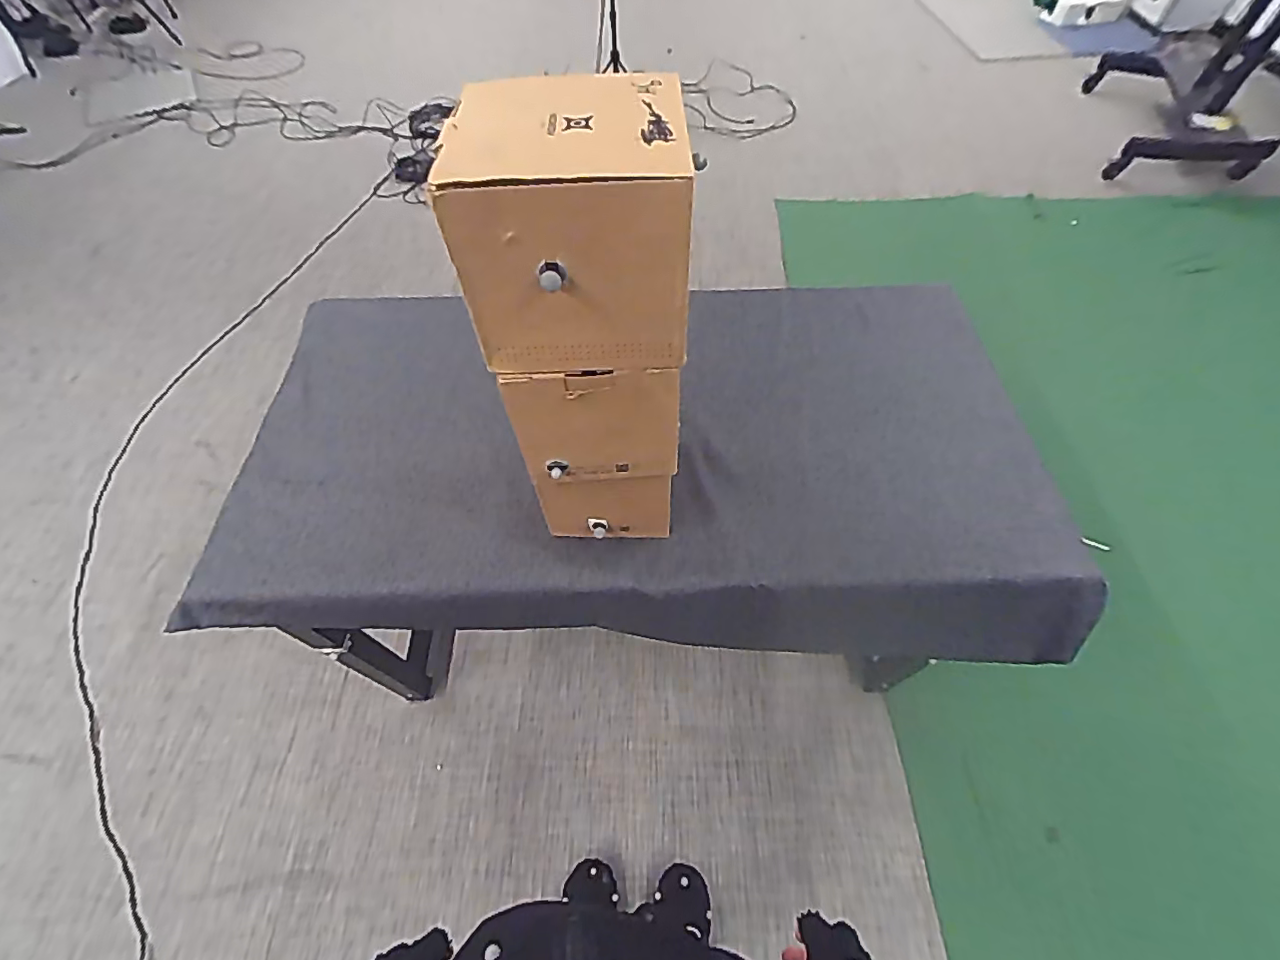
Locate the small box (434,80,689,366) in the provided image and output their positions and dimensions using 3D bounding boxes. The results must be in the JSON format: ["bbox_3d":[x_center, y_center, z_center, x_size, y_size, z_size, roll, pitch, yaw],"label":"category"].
[{"bbox_3d":[-0.053,-0.215,0.470,0.179,0.176,0.168,-4,54,-1],"label":"small box"}]

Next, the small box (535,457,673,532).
[{"bbox_3d":[-0.040,-0.043,0.746,0.168,0.176,0.179,-1,58,2],"label":"small box"}]

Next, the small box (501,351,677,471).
[{"bbox_3d":[-0.050,-0.123,0.603,0.168,0.176,0.179,-7,57,-1],"label":"small box"}]
